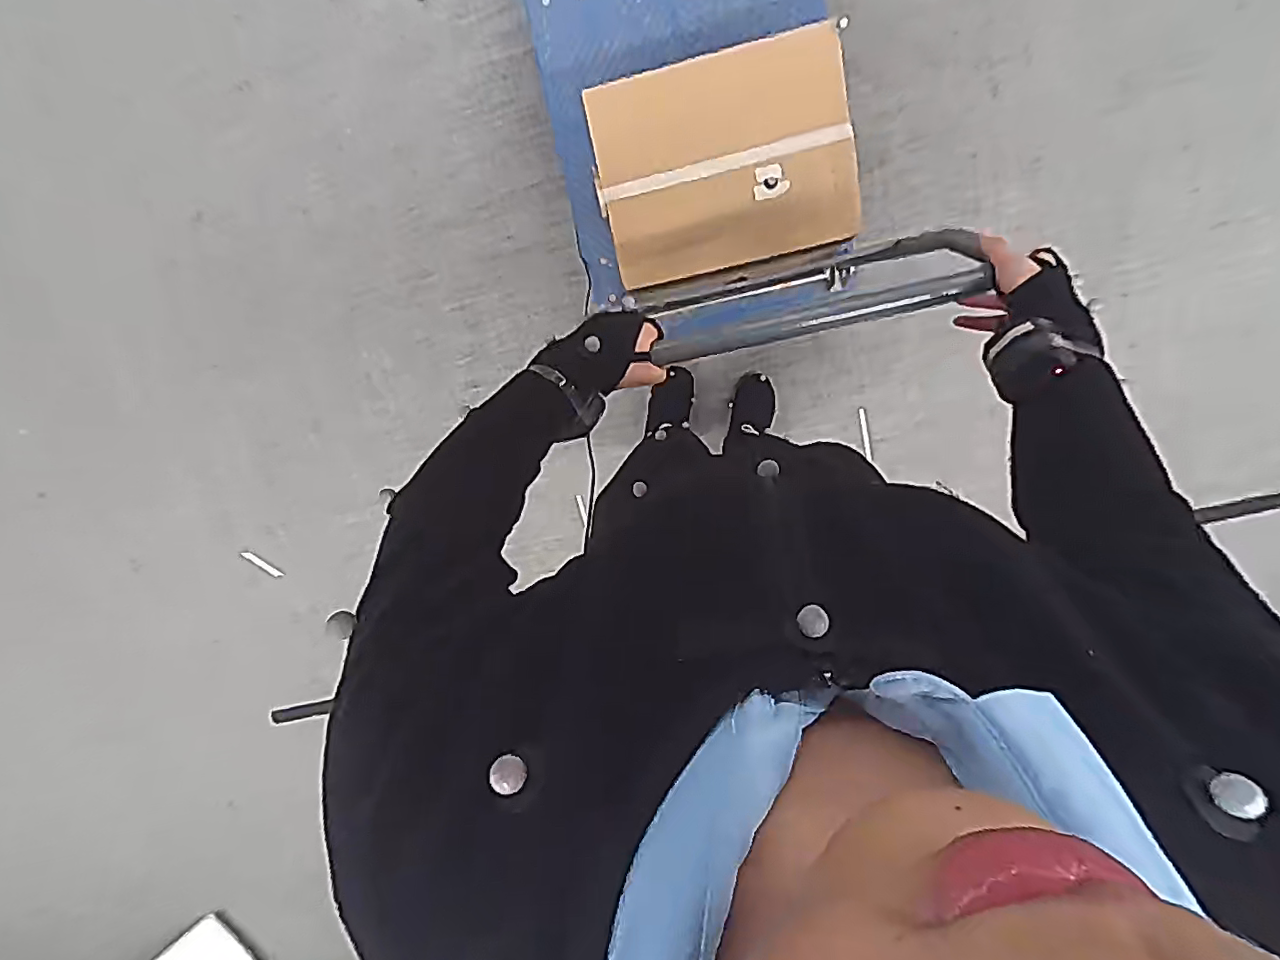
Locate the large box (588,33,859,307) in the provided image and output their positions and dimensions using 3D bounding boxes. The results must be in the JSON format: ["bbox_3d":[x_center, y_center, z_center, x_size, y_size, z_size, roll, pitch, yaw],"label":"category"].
[{"bbox_3d":[0.146,-0.540,1.029,0.408,0.320,0.320,-12,105,6],"label":"large box"}]
